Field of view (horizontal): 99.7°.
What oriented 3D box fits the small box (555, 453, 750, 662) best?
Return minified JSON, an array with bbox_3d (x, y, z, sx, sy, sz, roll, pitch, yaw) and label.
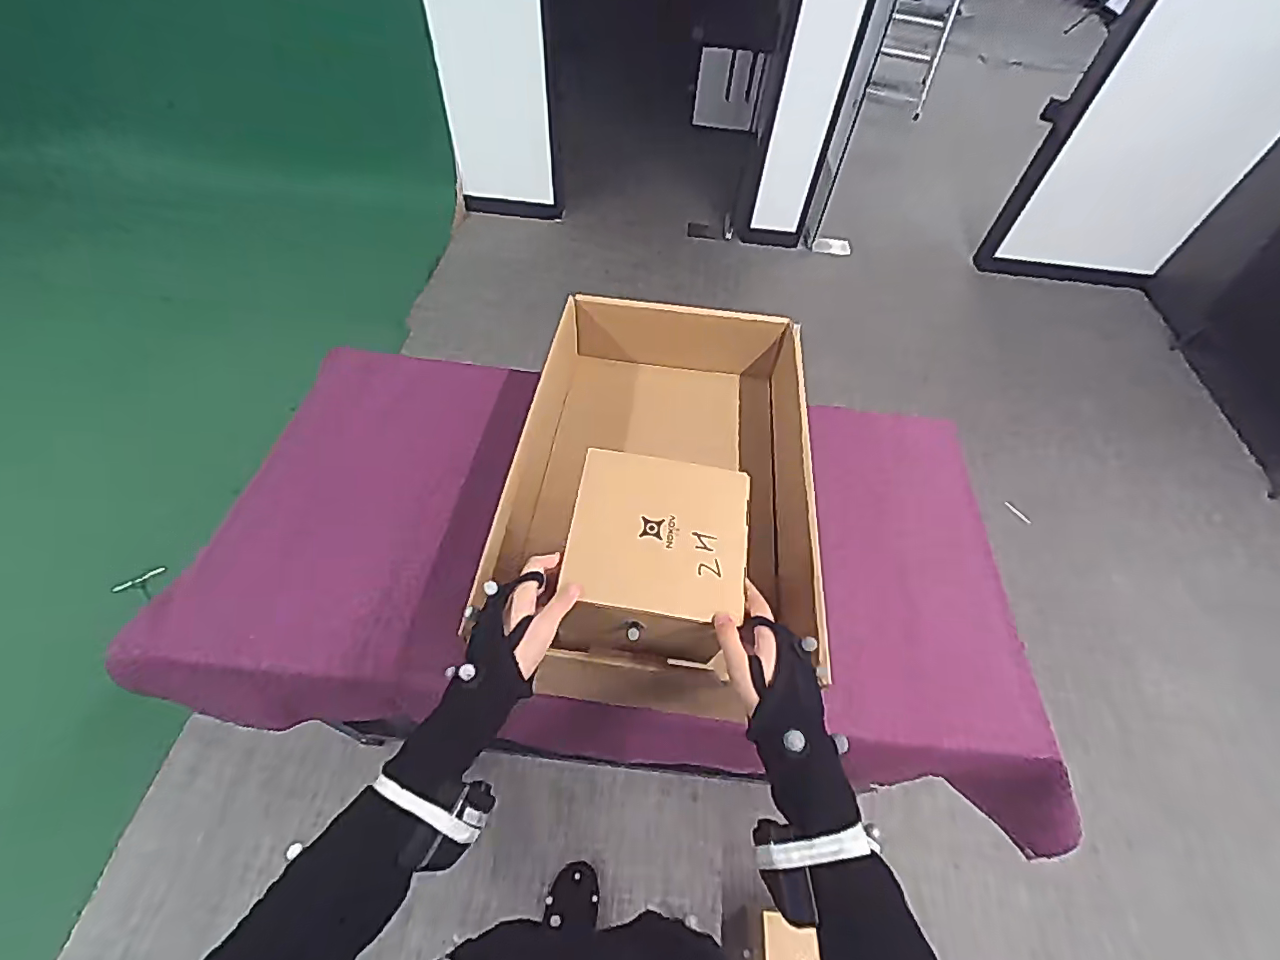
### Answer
[{"bbox_3d":[0.012,0.094,0.600,0.179,0.176,0.168,11,61,-1],"label":"small box"}]
